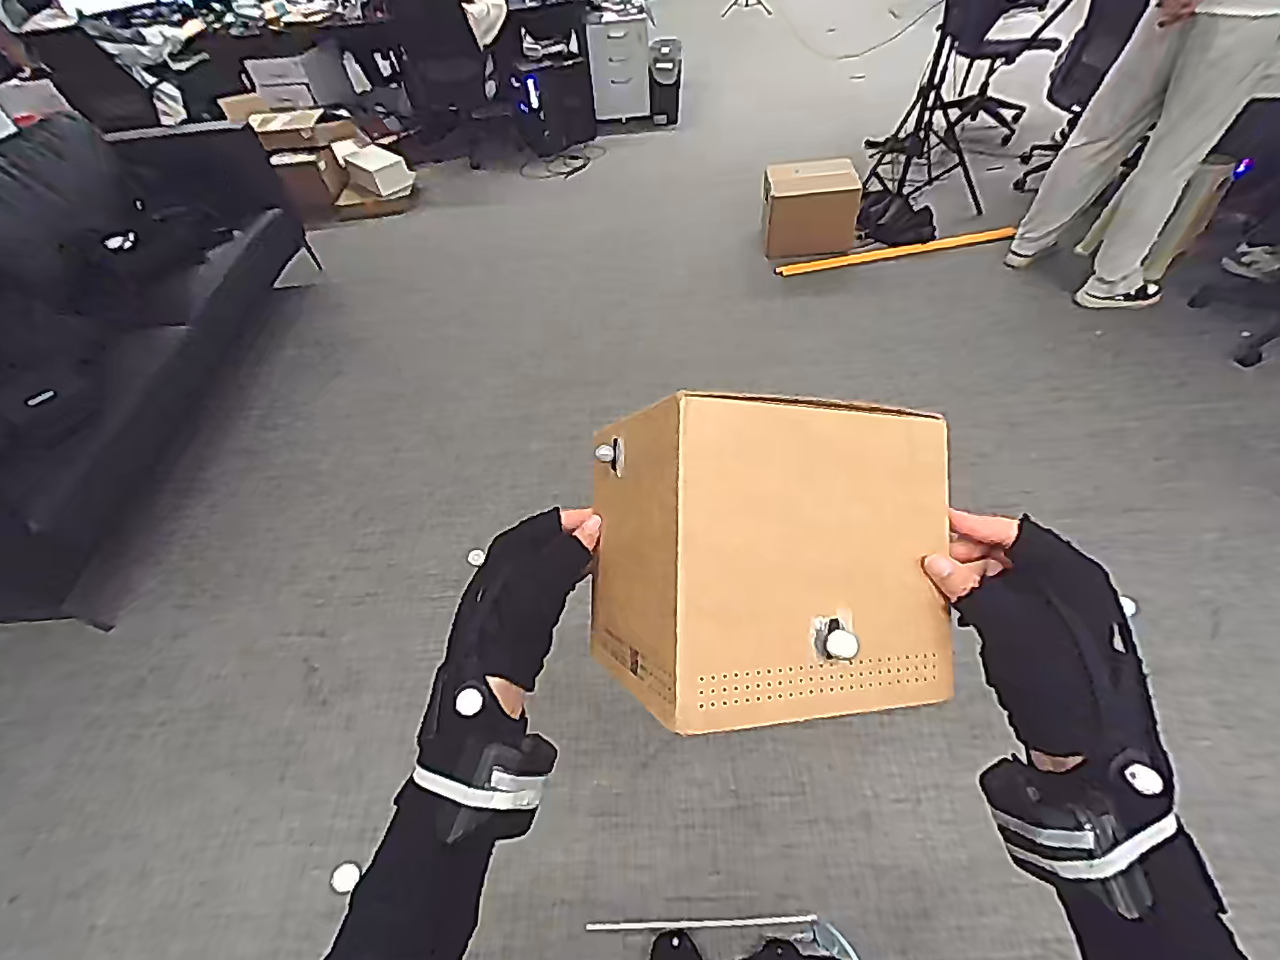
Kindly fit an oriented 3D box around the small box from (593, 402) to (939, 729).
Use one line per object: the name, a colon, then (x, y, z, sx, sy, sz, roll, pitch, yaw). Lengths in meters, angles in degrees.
small box: (0.072, 0.052, 0.371, 0.179, 0.168, 0.176, 3, 85, -20)
